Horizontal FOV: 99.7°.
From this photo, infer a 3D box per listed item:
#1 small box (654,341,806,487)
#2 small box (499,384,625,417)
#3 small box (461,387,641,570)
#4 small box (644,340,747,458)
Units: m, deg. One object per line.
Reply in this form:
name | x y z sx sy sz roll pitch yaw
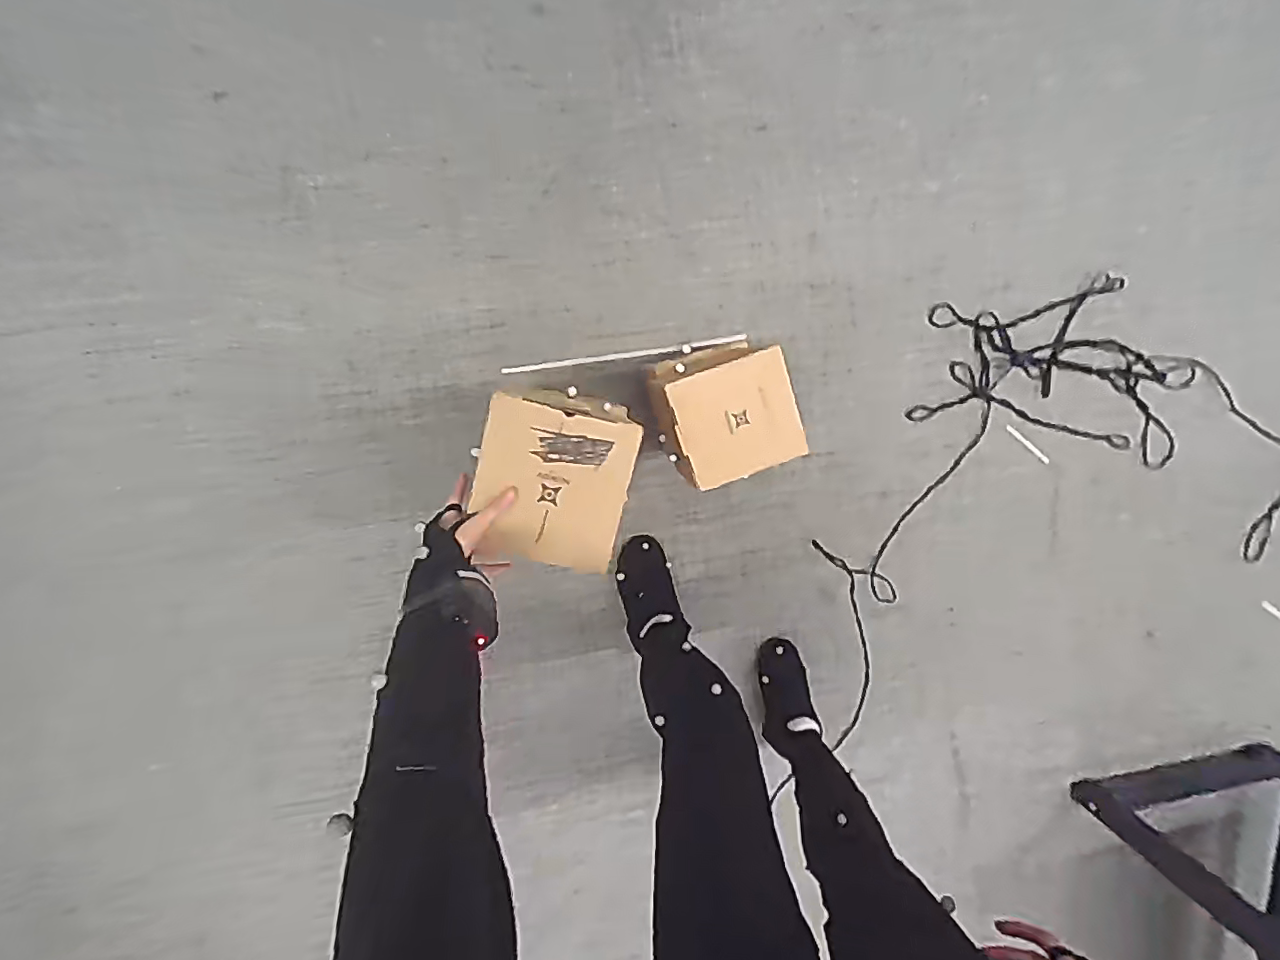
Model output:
small box | 0.127 -0.106 0.843 0.179 0.176 0.168 -20 104 -2
small box | -0.128 -0.050 0.825 0.179 0.176 0.168 8 99 -10
small box | -0.108 -0.012 0.666 0.168 0.176 0.179 13 99 -10
small box | 0.112 -0.151 0.999 0.168 0.176 0.179 -16 102 -3
